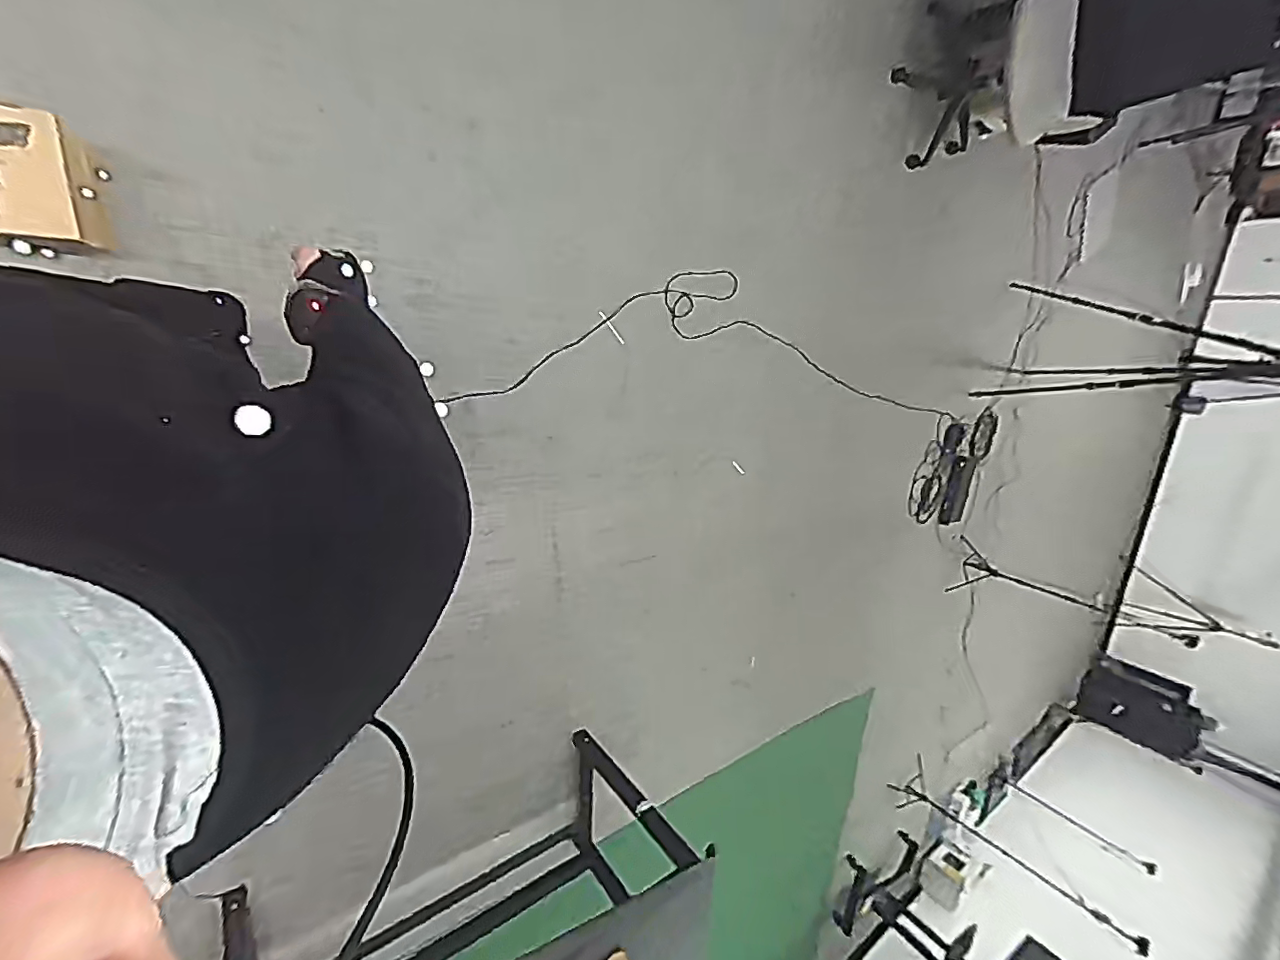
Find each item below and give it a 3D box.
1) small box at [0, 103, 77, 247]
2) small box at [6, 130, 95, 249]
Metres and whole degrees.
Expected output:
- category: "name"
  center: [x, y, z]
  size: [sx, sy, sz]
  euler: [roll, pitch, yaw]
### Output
- category: "small box"
  center: [-0.991, -0.460, 0.812]
  size: [0.168, 0.176, 0.179]
  euler: [-9, 110, -36]
- category: "small box"
  center: [-1.086, -0.508, 0.937]
  size: [0.168, 0.176, 0.179]
  euler: [-9, 111, -36]
